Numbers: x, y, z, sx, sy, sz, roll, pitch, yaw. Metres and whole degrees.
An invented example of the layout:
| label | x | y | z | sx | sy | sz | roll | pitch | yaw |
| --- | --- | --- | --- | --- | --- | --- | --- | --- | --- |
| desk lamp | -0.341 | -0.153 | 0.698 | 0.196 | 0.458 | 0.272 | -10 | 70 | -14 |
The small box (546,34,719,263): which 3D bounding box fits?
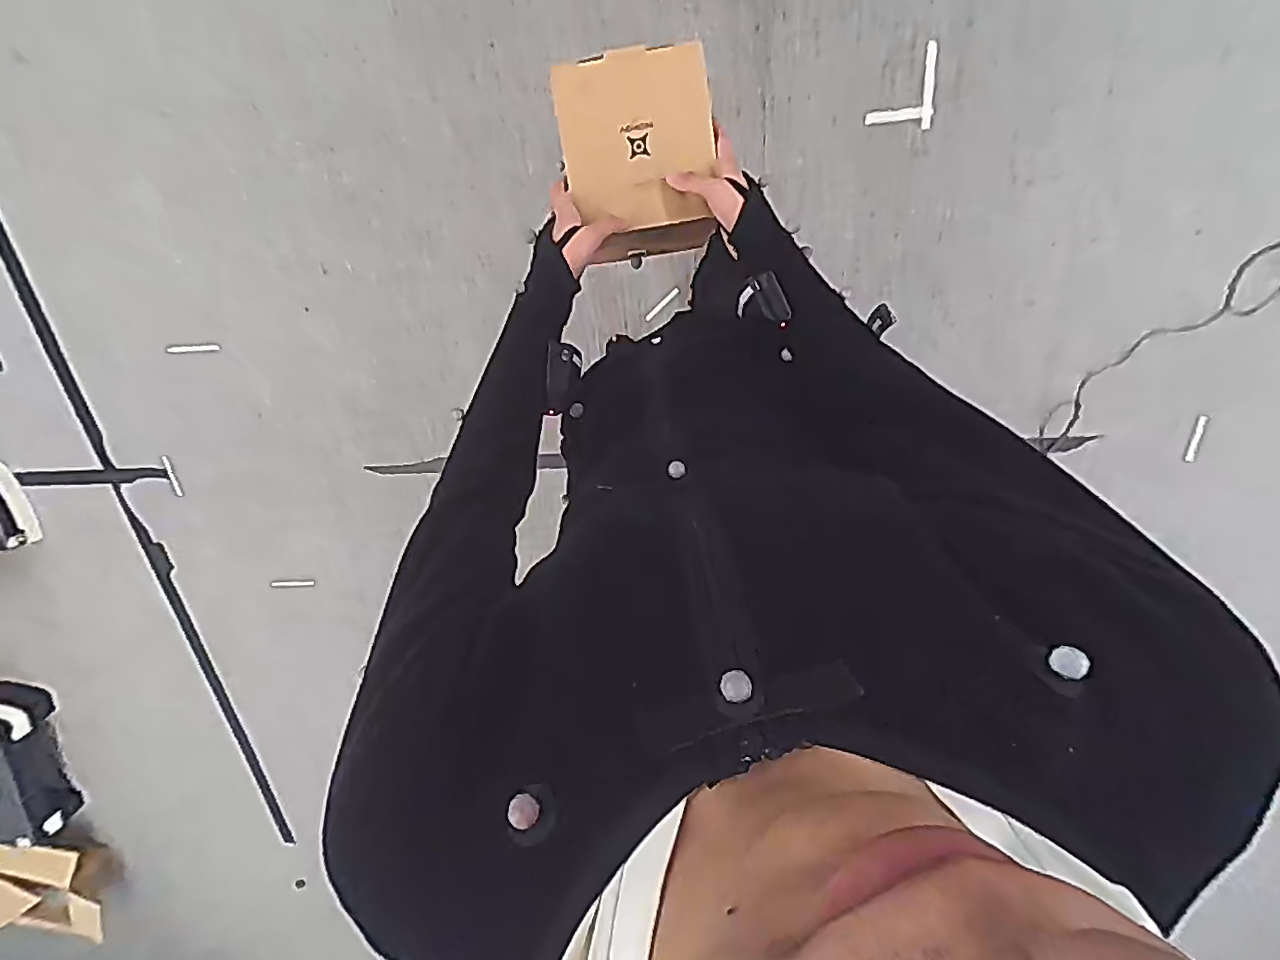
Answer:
| label | x | y | z | sx | sy | sz | roll | pitch | yaw |
| --- | --- | --- | --- | --- | --- | --- | --- | --- | --- |
| small box | -0.008 | -0.380 | 0.653 | 0.168 | 0.176 | 0.179 | -10 | 102 | 1 |
